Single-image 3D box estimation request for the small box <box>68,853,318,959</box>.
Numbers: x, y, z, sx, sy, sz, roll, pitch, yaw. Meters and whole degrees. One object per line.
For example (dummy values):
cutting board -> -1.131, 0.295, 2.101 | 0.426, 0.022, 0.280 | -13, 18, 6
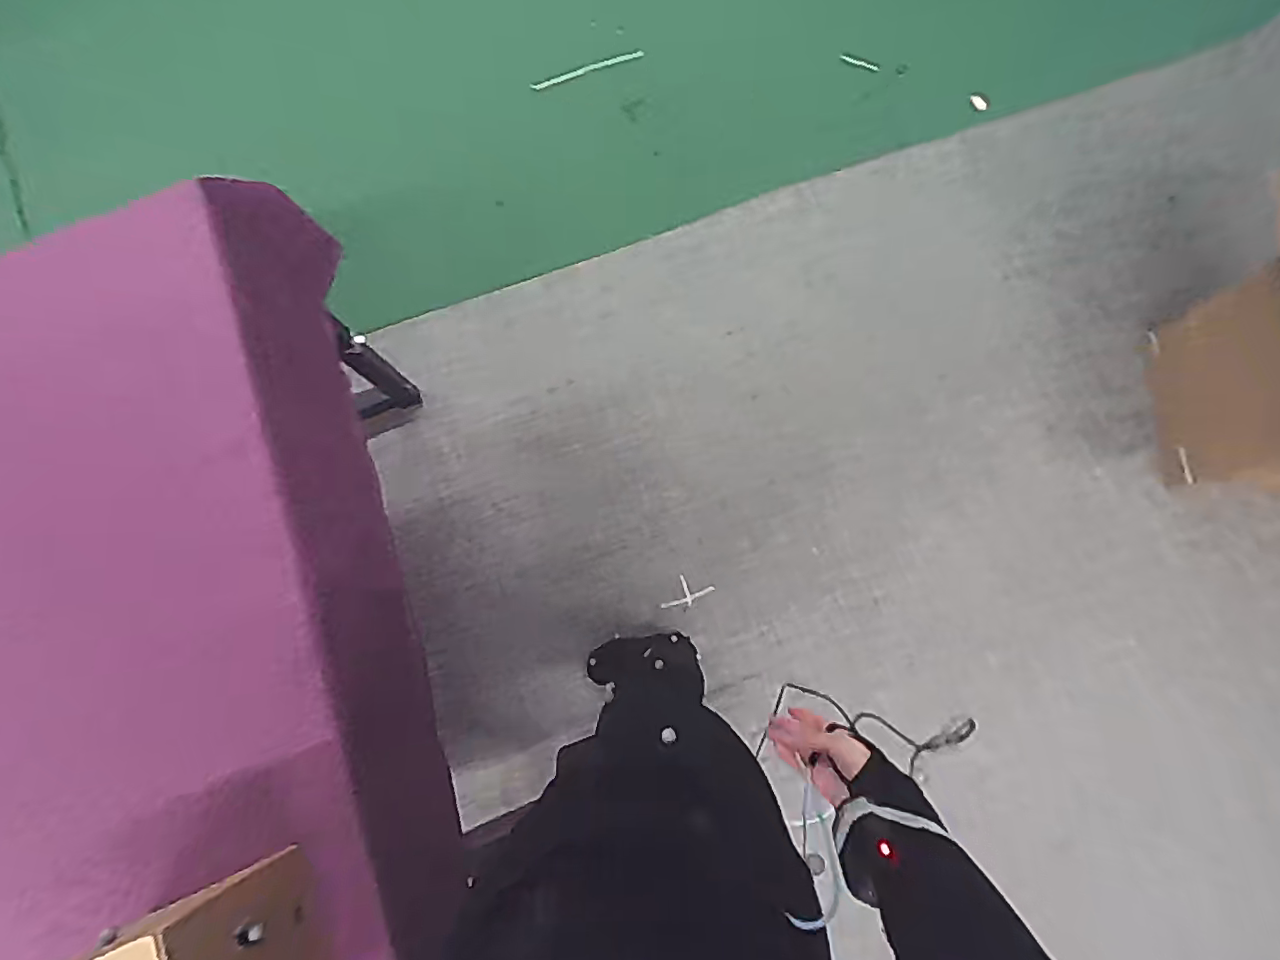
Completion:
small box -> -0.415, 0.476, 0.478 | 0.179, 0.176, 0.168 | -24, 75, -2
